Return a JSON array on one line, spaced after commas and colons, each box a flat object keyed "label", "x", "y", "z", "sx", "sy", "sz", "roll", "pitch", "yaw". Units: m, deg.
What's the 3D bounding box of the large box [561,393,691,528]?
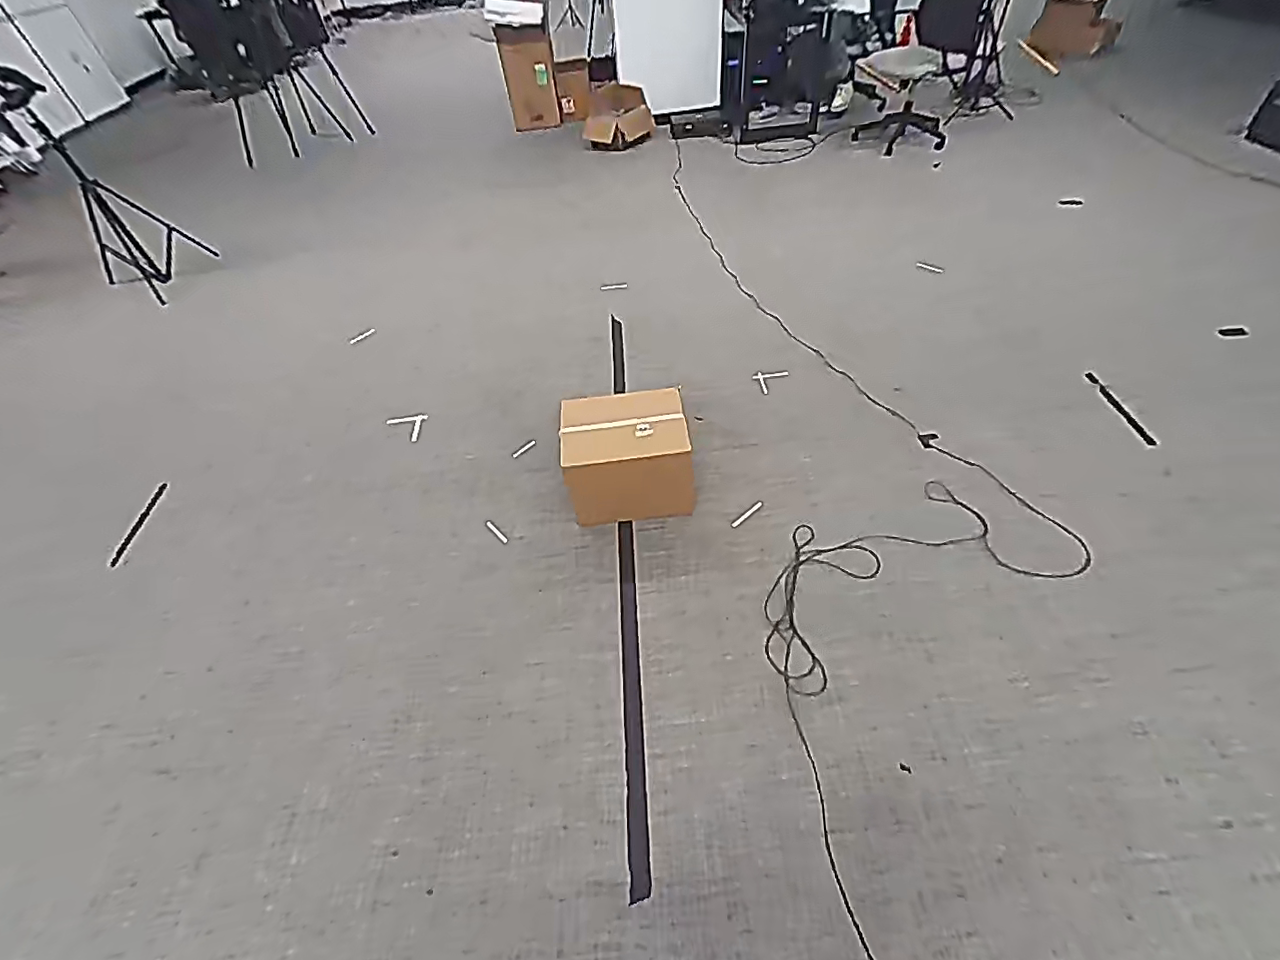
[{"label": "large box", "x": -0.047, "y": -0.063, "z": 1.856, "sx": 0.408, "sy": 0.320, "sz": 0.320, "roll": -7, "pitch": 49, "yaw": 0}]
